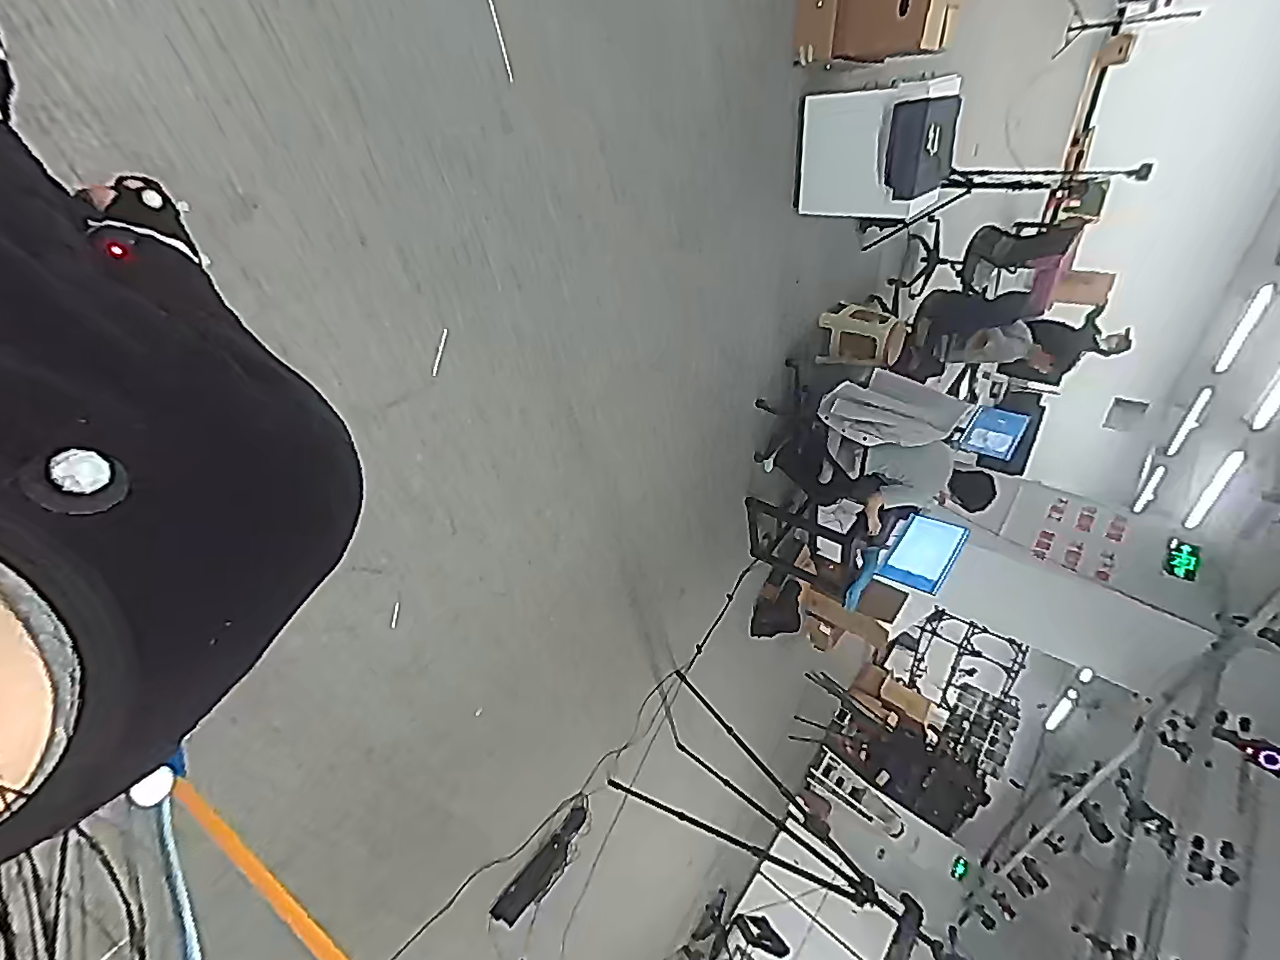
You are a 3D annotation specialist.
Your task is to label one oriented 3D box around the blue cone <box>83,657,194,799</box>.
[{"bbox_3d":[-1.088,0.578,1.225,0.193,0.380,0.192,10,100,-56],"label":"blue cone"}]
